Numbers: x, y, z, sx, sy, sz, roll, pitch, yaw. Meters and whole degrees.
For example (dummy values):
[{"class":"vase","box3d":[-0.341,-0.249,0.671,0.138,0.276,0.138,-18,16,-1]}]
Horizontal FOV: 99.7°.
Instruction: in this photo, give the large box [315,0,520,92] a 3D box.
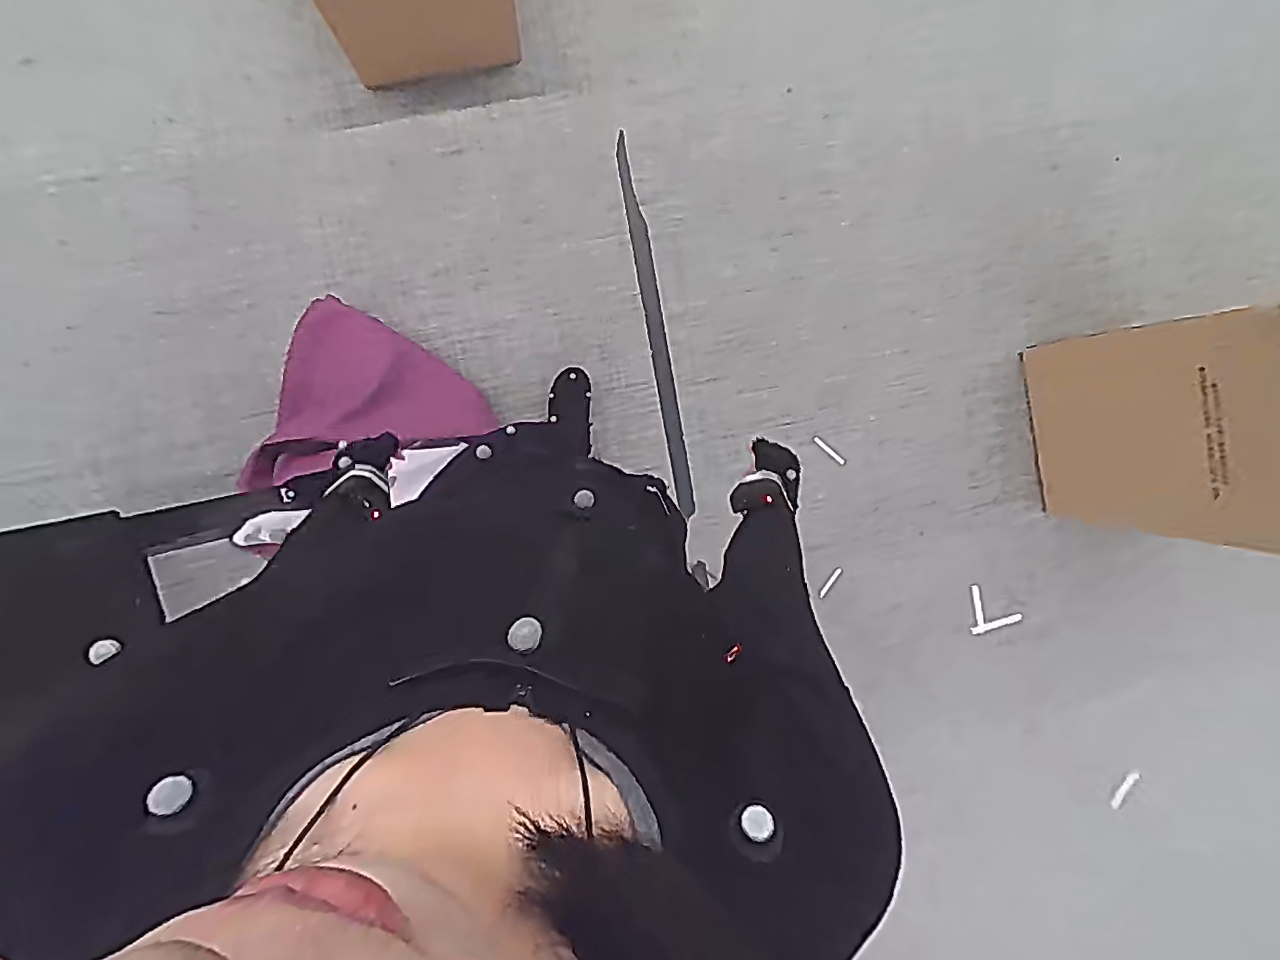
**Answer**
[{"class":"large box","box3d":[-0.511,-1.143,1.198,0.408,0.320,0.320,-15,97,-7]}]
